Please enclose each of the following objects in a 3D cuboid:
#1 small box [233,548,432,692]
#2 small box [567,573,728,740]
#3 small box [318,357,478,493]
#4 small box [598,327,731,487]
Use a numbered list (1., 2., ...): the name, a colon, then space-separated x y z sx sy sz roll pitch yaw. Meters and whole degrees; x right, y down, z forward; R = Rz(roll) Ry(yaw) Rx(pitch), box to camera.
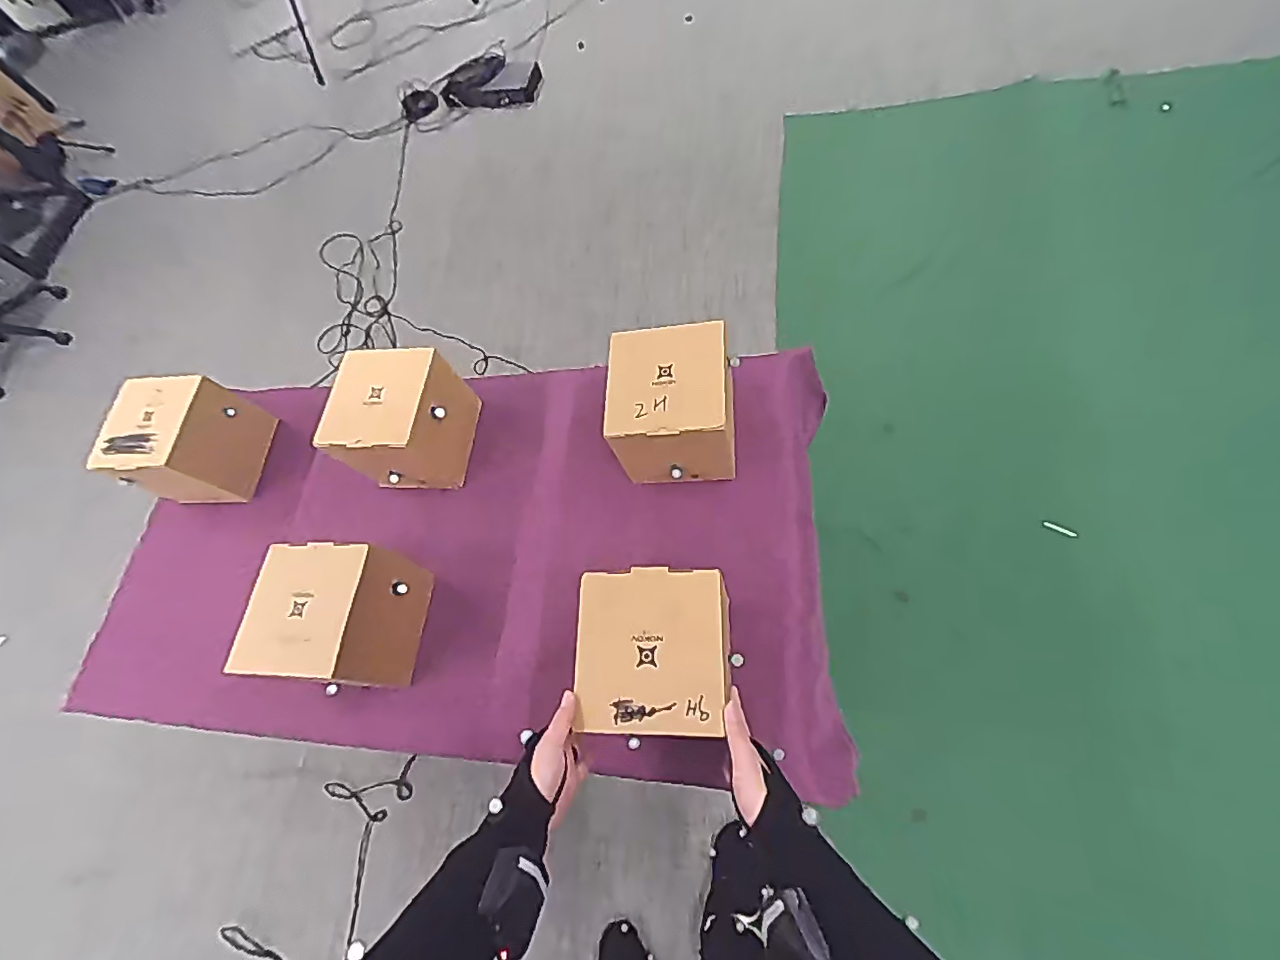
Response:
1. small box: -0.435 0.210 0.800 0.168 0.176 0.179 -1 65 14
2. small box: 0.020 0.223 0.674 0.168 0.176 0.179 -4 66 13
3. small box: -0.398 -0.090 0.924 0.168 0.176 0.179 1 69 13
4. small box: 0.045 -0.103 0.818 0.168 0.176 0.179 -3 67 15
